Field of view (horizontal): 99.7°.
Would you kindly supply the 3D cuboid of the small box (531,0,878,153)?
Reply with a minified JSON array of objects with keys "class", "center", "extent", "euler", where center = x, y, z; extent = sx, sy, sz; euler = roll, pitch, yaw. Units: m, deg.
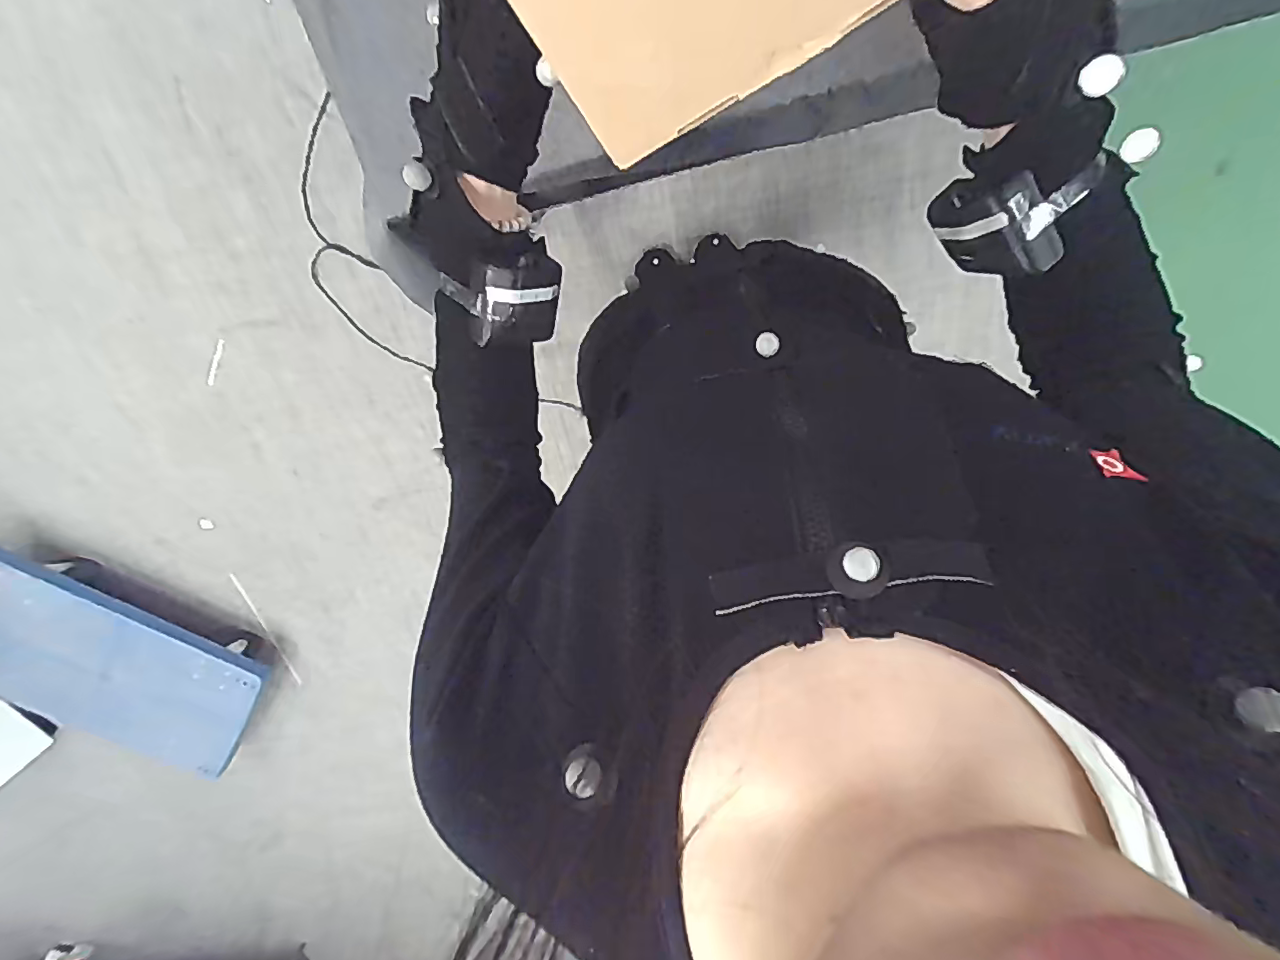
[{"class":"small box","center":[0.010,-0.275,0.186],"extent":[0.168,0.176,0.179],"euler":[-21,156,21]}]
